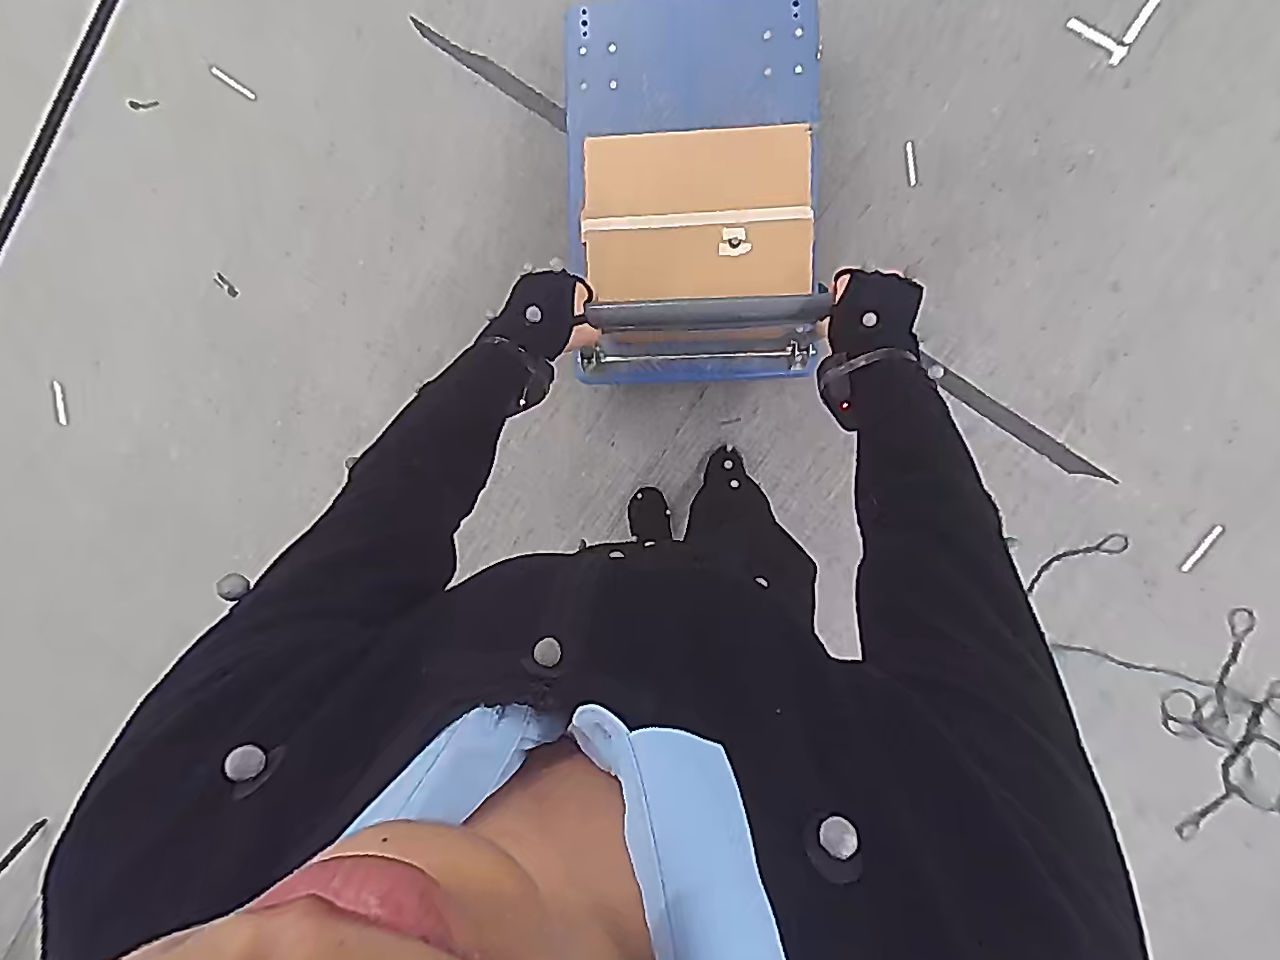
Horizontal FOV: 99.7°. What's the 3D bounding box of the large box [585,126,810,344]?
[{"bbox_3d":[0.111,-0.476,1.124,0.408,0.320,0.320,-1,94,3],"label":"large box"}]
